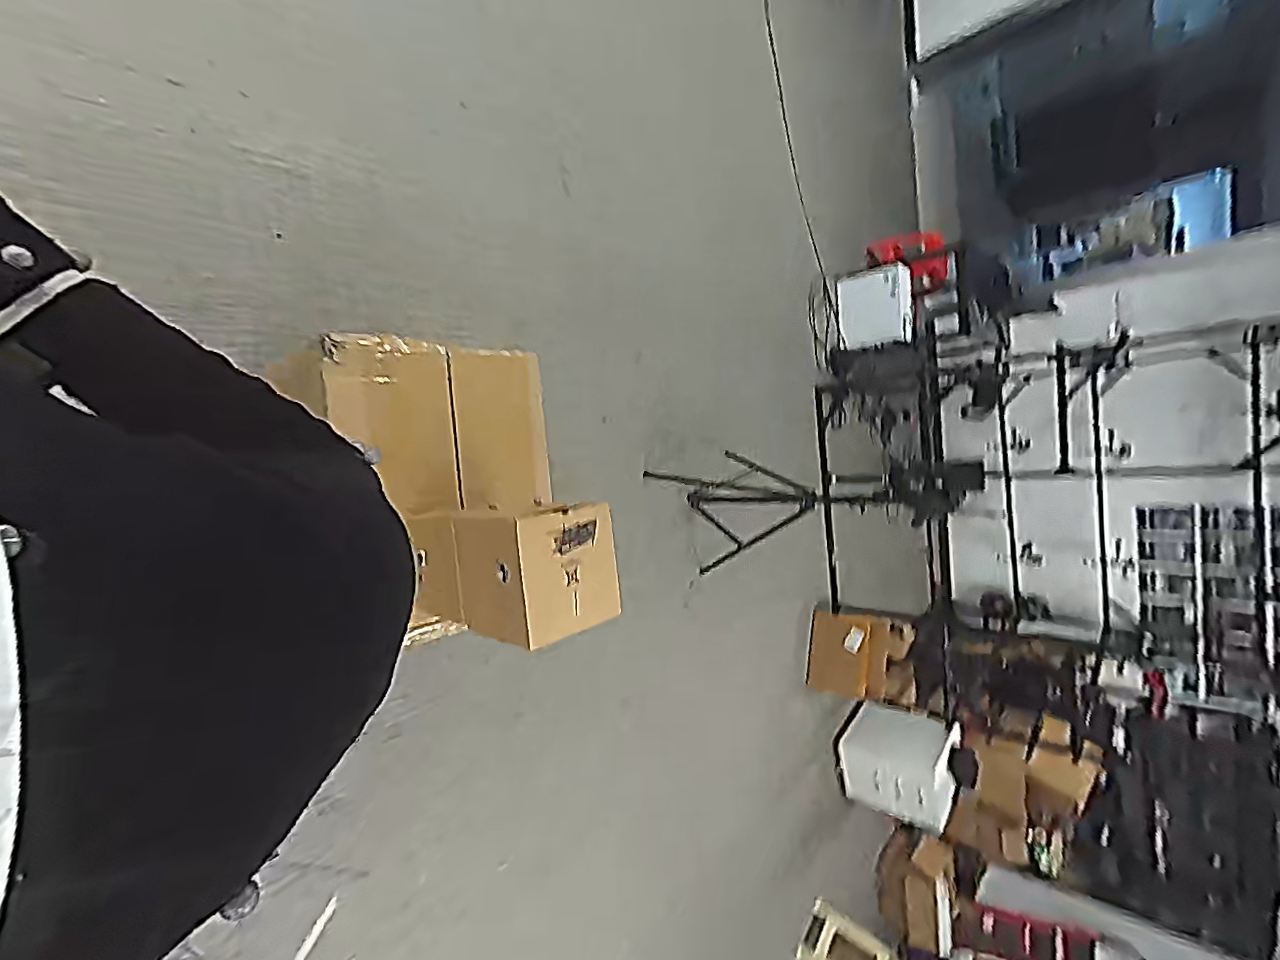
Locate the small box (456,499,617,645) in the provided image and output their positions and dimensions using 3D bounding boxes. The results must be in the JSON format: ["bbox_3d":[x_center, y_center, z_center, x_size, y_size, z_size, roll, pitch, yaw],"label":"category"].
[{"bbox_3d":[-0.157,0.125,0.804,0.168,0.176,0.179,-8,94,-45],"label":"small box"}]

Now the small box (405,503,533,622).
[{"bbox_3d":[-0.274,0.128,0.920,0.179,0.176,0.168,-8,93,-44],"label":"small box"}]
